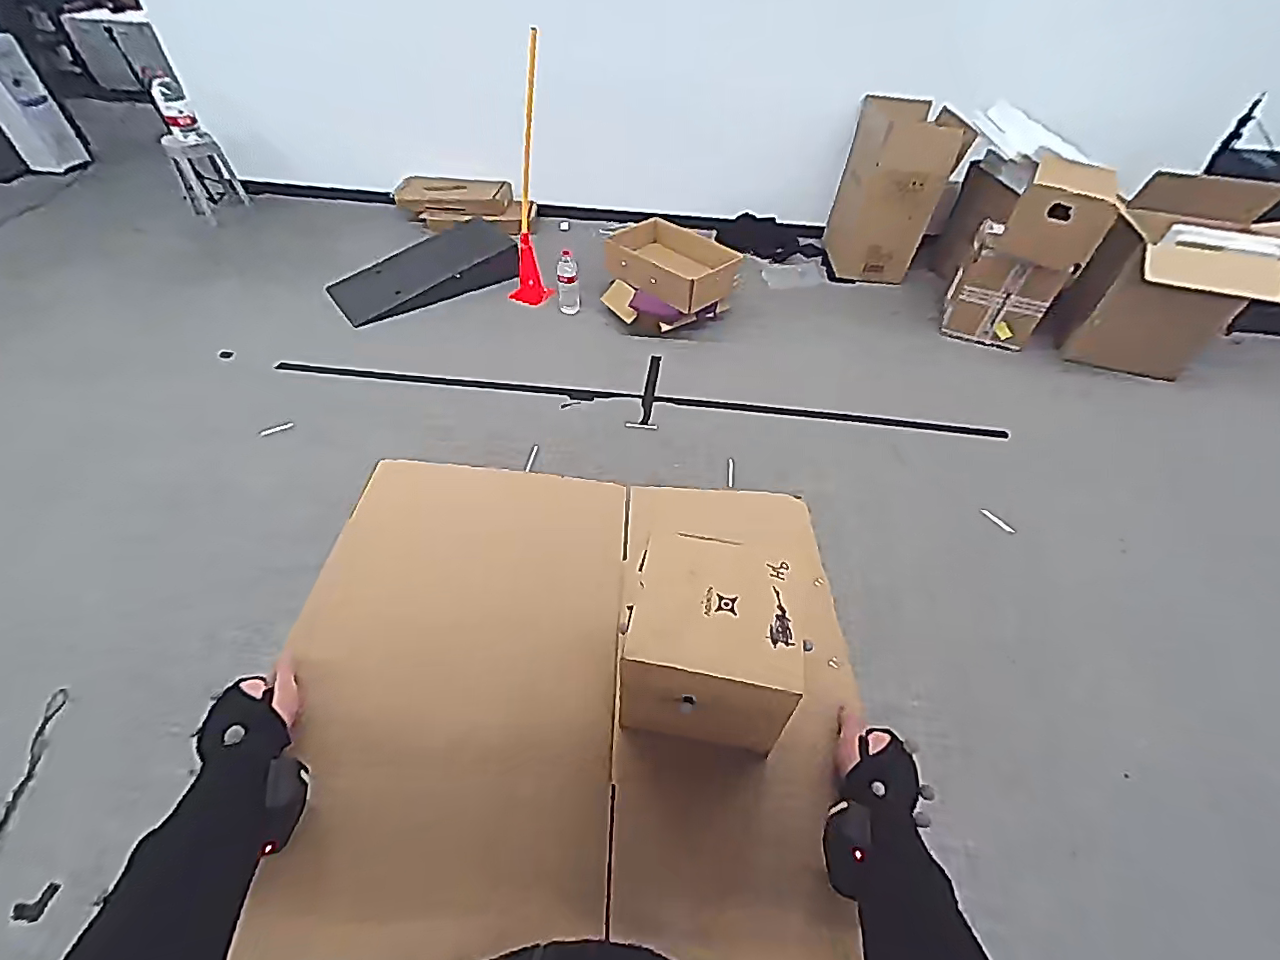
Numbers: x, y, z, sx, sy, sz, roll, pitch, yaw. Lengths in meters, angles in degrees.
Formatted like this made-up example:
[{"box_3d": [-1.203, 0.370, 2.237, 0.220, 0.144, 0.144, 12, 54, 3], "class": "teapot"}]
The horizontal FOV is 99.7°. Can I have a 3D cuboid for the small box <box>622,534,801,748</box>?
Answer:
[{"box_3d": [0.081, 0.189, 0.629, 0.179, 0.176, 0.168, 8, 45, 7], "class": "small box"}]
